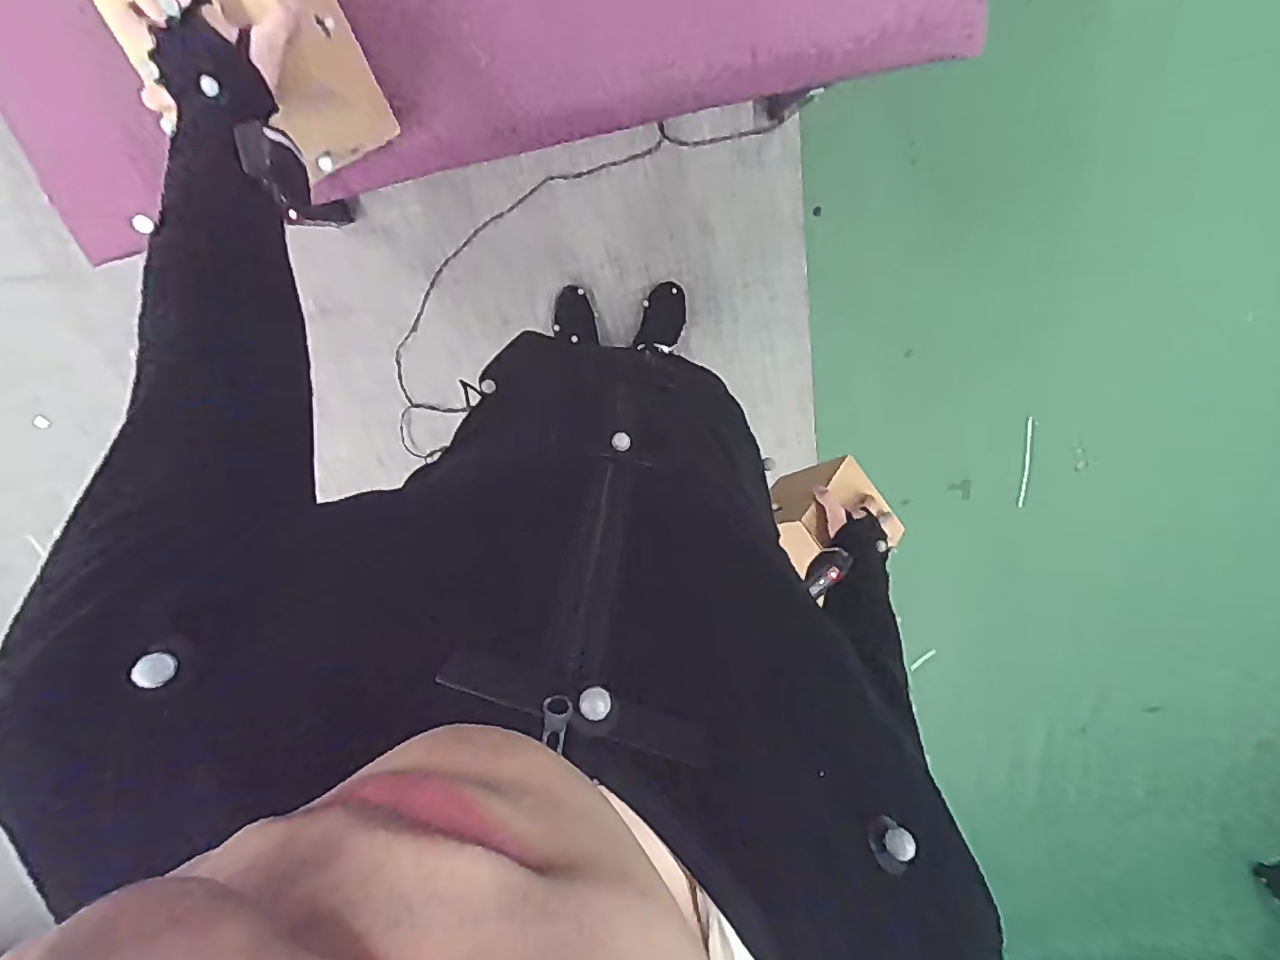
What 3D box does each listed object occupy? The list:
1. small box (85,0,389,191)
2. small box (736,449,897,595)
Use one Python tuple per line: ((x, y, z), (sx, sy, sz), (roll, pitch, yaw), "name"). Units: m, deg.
((-0.419, -0.450, 0.591), (0.168, 0.176, 0.179), (-23, 107, 10), "small box")
((0.290, 0.080, 0.919), (0.168, 0.176, 0.179), (51, 59, -8), "small box")
